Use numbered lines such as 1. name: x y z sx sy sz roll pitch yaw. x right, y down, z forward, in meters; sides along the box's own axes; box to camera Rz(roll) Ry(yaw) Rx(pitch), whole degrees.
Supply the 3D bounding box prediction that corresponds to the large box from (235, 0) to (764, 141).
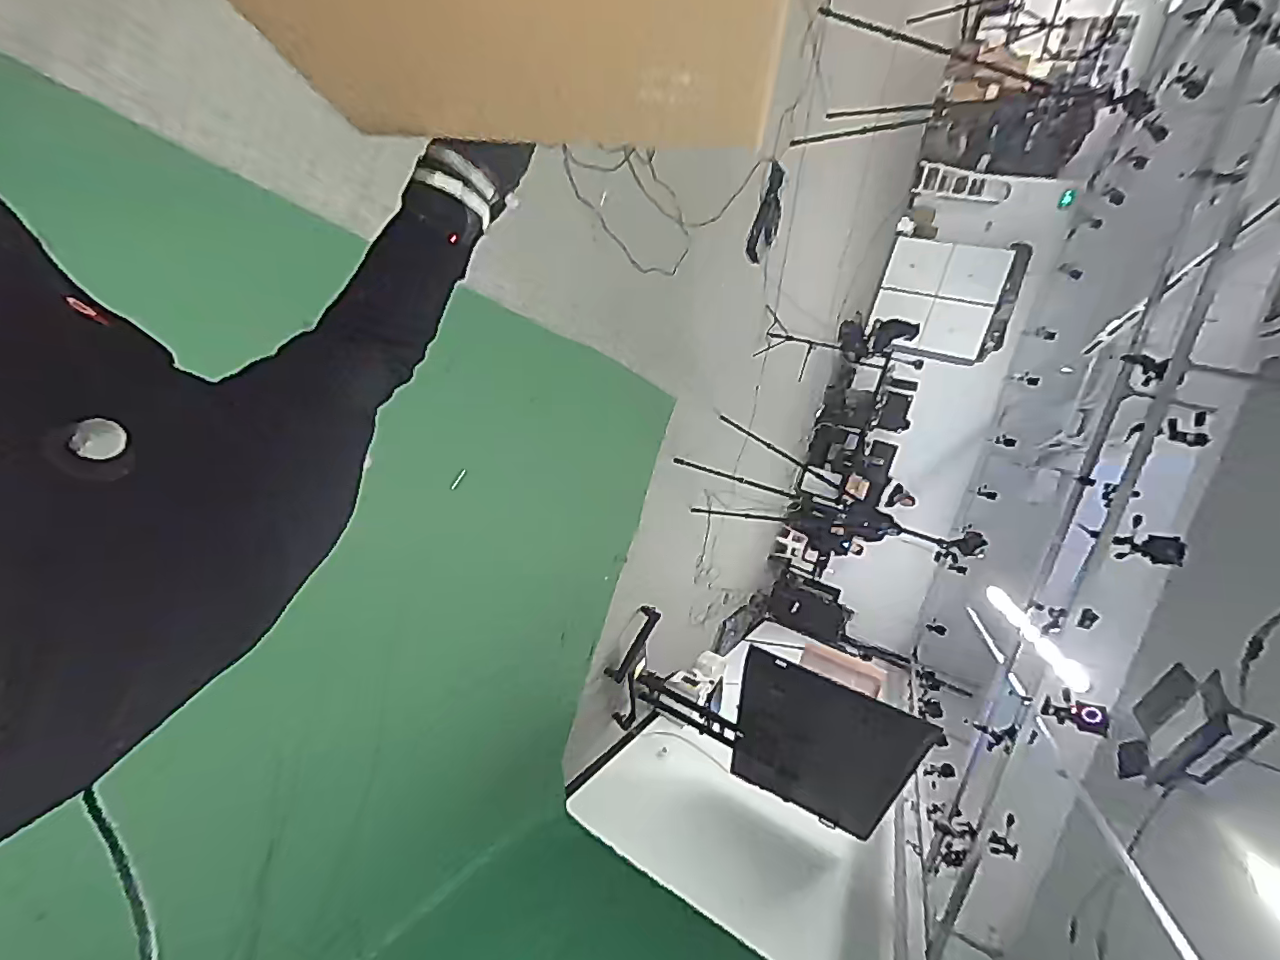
1. large box: -0.079 -0.406 0.210 0.408 0.320 0.320 -21 118 -85
